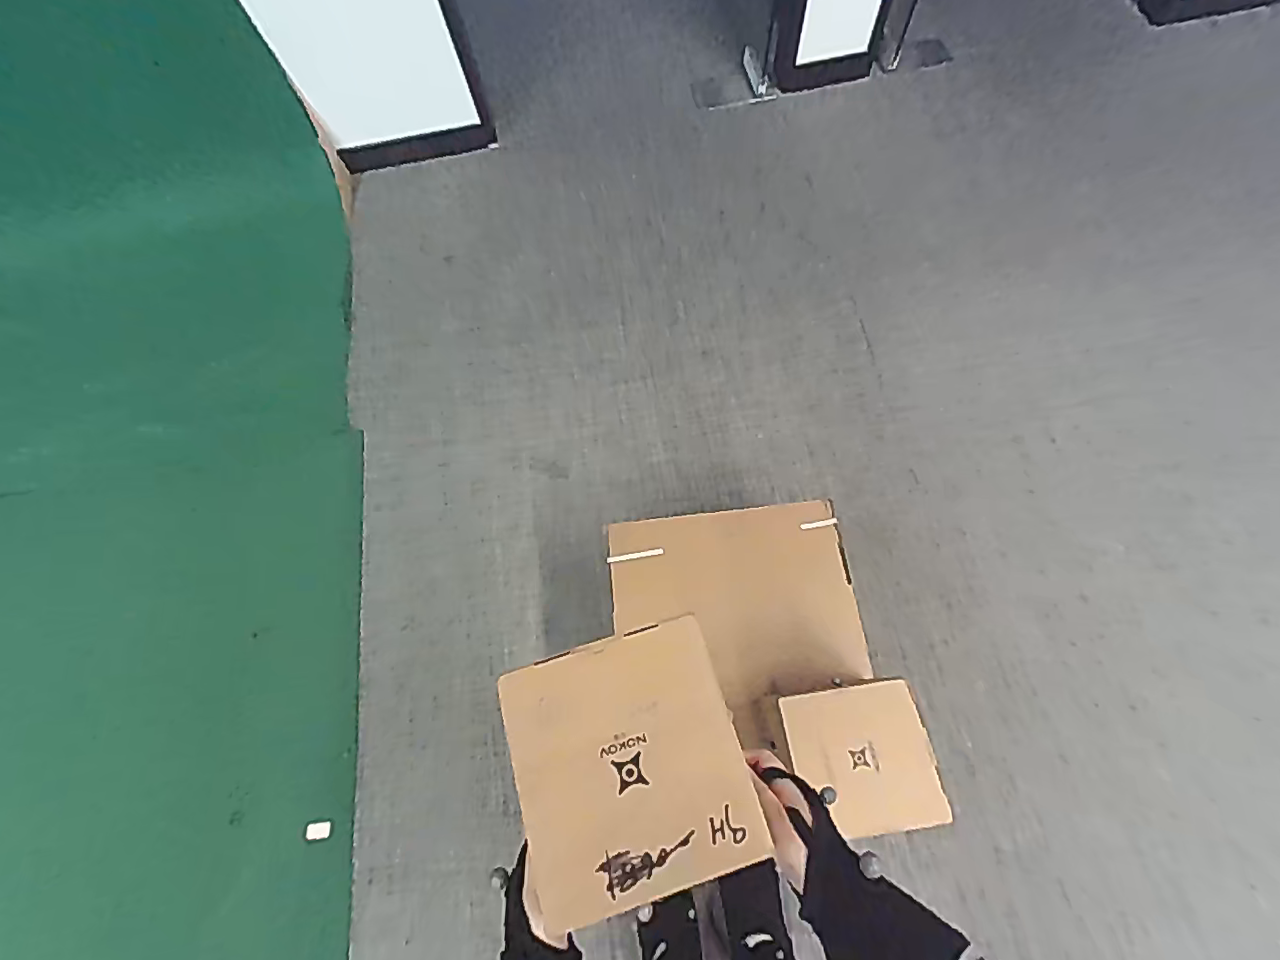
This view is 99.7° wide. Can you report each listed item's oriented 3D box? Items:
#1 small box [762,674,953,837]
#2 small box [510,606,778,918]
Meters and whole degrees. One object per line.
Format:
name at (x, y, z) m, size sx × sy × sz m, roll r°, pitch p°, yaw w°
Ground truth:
small box at (0.282, 0.364, 0.745) m, size 0.179 × 0.176 × 0.168 m, roll -10°, pitch 68°, yaw 0°
small box at (-0.003, 0.231, 0.478) m, size 0.168 × 0.176 × 0.179 m, roll -16°, pitch 68°, yaw -5°
